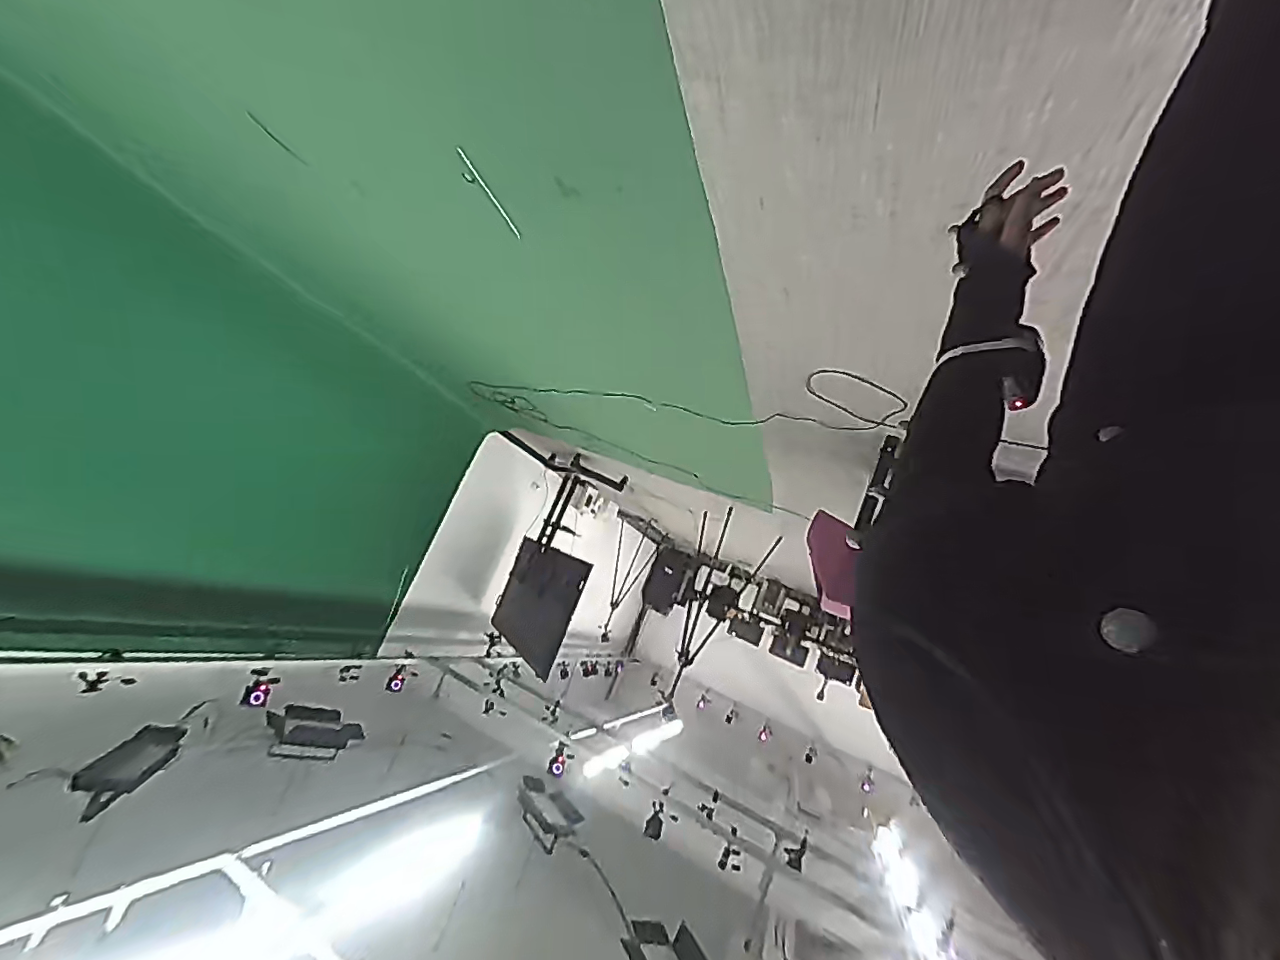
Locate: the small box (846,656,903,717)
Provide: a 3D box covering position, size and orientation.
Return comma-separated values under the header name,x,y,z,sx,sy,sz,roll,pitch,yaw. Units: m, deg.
name,x,y,z,sx,sy,sz,roll,pitch,yaw
small box,0.917,0.800,2.117,0.168,0.176,0.179,18,170,24
